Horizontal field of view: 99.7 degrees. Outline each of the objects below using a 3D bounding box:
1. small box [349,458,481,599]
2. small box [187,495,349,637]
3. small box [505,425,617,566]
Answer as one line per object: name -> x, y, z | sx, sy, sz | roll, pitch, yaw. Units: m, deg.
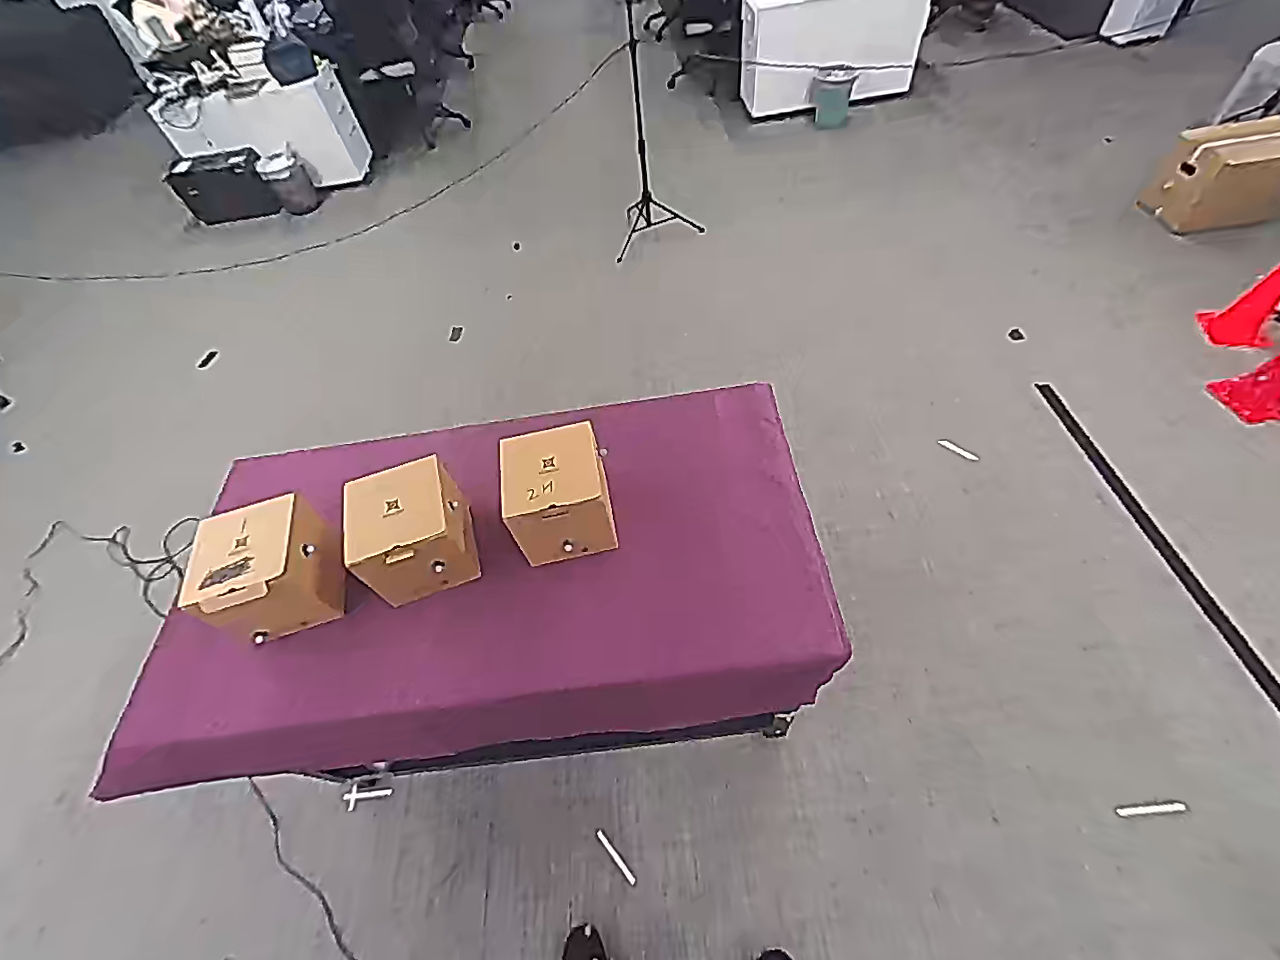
small box -> -0.399, 0.096, 0.974 | 0.168, 0.176, 0.179 | -18, 53, -6
small box -> -0.641, 0.160, 0.958 | 0.168, 0.176, 0.179 | -17, 53, -5
small box -> -0.142, 0.031, 0.983 | 0.168, 0.176, 0.179 | -12, 54, 0
